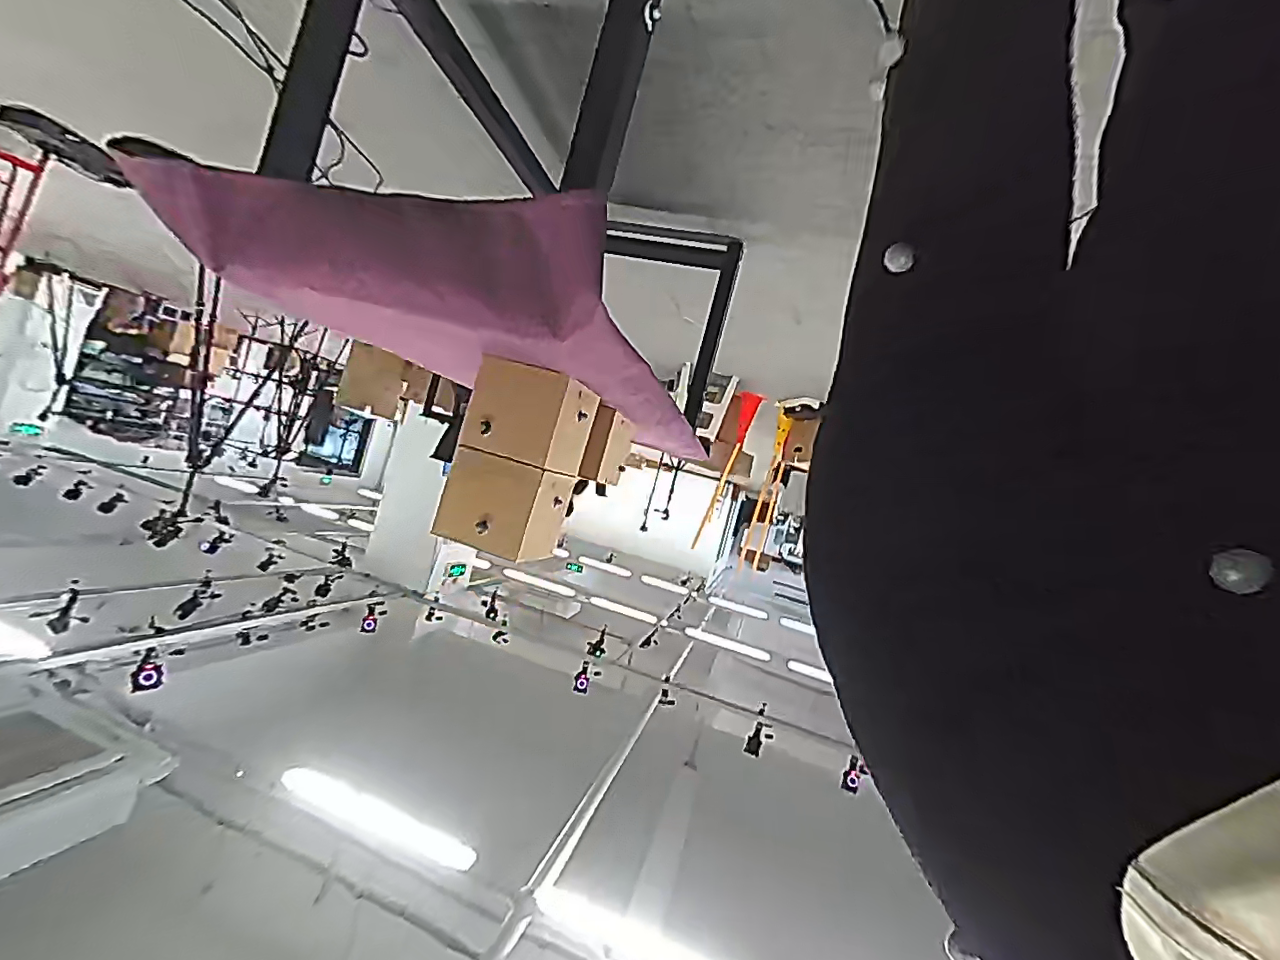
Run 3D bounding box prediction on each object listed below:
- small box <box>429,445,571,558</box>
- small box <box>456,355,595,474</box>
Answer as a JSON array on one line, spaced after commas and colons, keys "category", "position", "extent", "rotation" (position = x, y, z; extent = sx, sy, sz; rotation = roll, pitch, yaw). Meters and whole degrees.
[{"category": "small box", "position": [-0.250, 0.037, 0.999], "extent": [0.179, 0.176, 0.168], "rotation": [15, 179, 14]}, {"category": "small box", "position": [-0.203, -0.119, 1.000], "extent": [0.179, 0.176, 0.168], "rotation": [15, 180, 13]}]
